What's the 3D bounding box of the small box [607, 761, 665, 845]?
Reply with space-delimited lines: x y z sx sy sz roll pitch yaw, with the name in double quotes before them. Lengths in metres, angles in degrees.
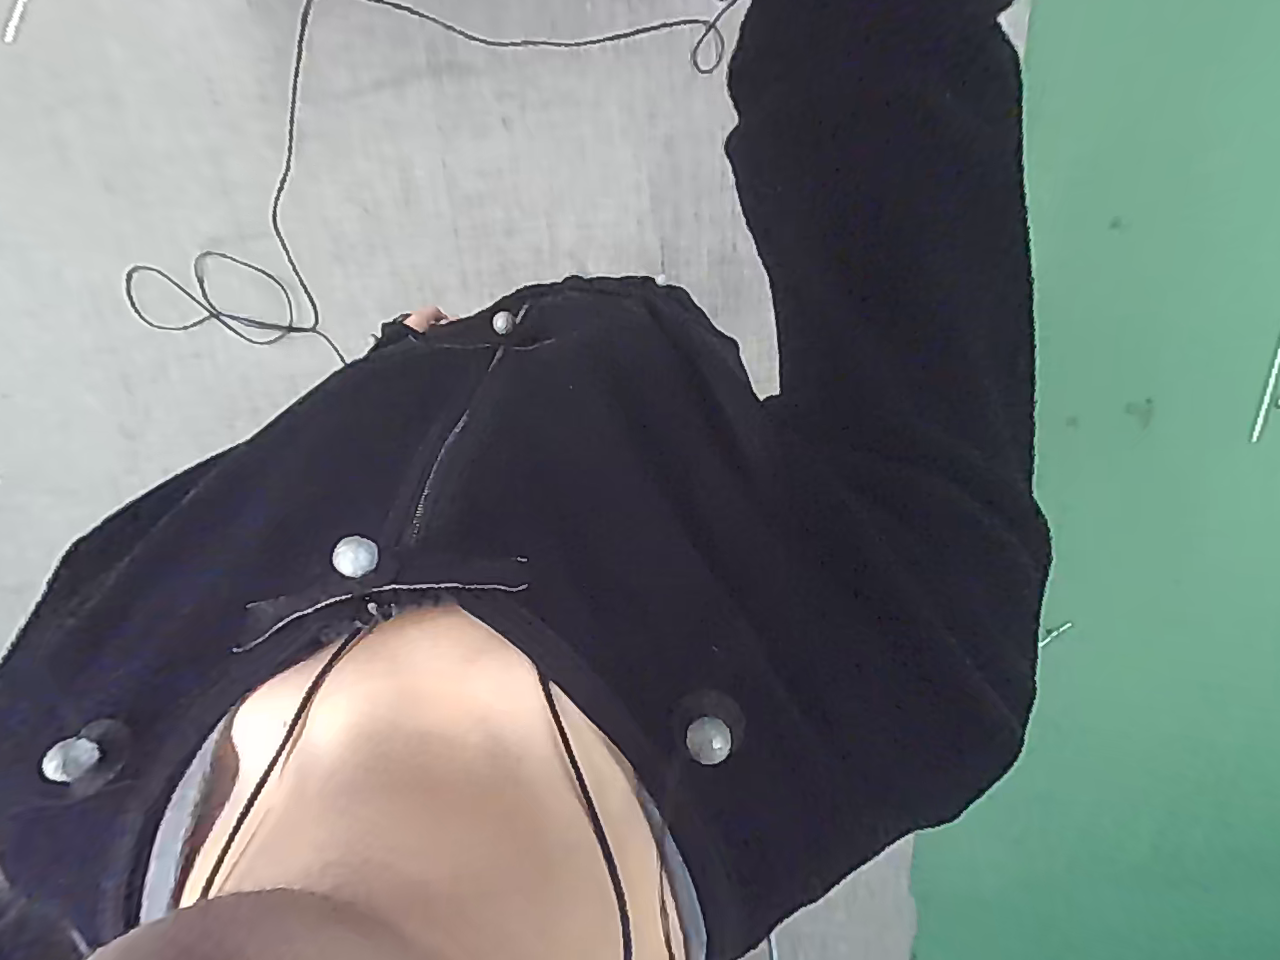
"small box" -0.015 1.029 1.735 0.179 0.176 0.168 -4 107 0
